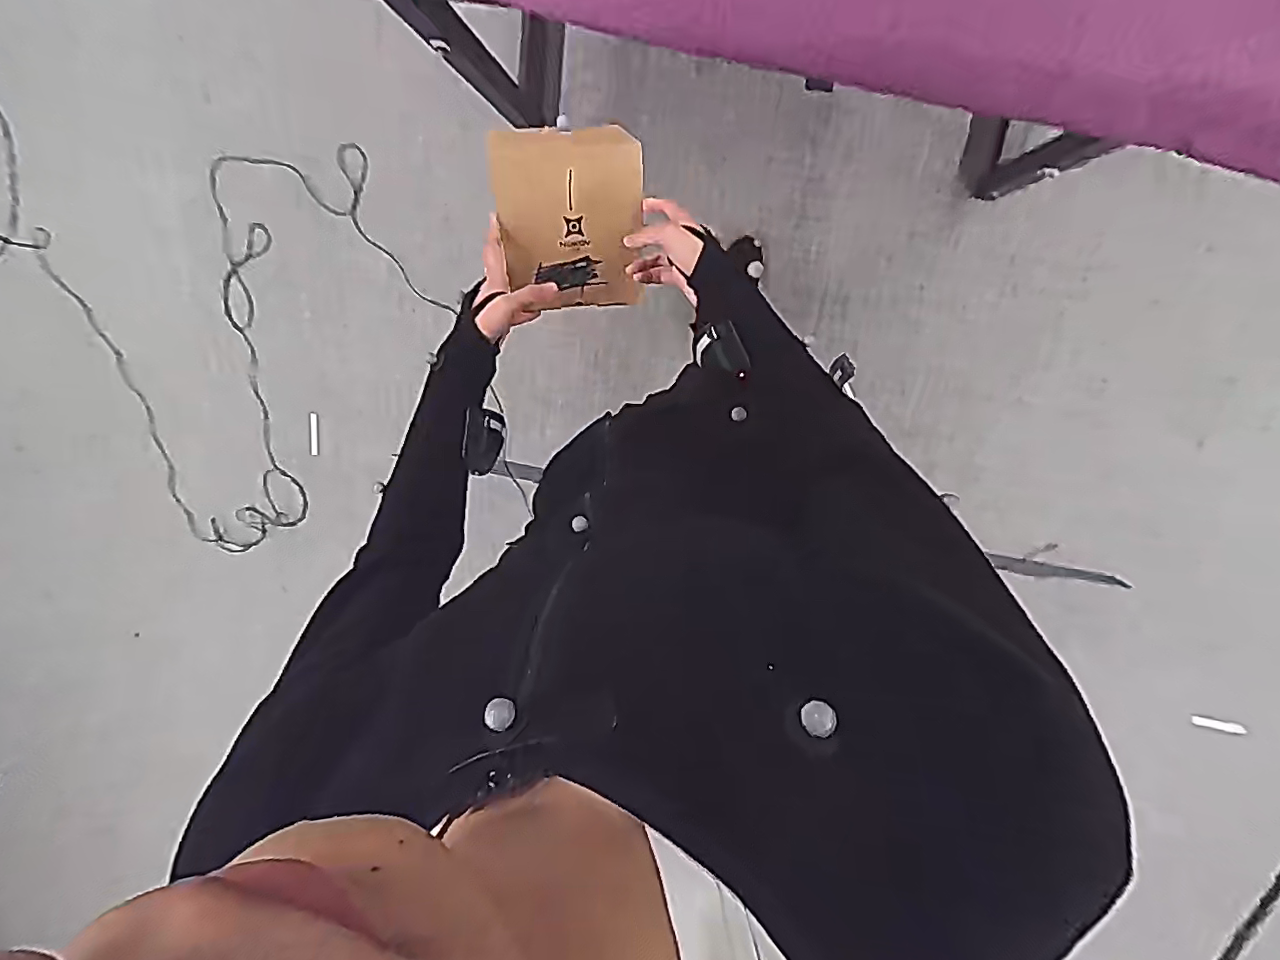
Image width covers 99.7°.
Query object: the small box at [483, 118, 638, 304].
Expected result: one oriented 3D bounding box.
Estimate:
[{"bbox_3d":[-0.096,-0.342,0.683,0.168,0.176,0.179,-8,129,-8],"label":"small box"}]
